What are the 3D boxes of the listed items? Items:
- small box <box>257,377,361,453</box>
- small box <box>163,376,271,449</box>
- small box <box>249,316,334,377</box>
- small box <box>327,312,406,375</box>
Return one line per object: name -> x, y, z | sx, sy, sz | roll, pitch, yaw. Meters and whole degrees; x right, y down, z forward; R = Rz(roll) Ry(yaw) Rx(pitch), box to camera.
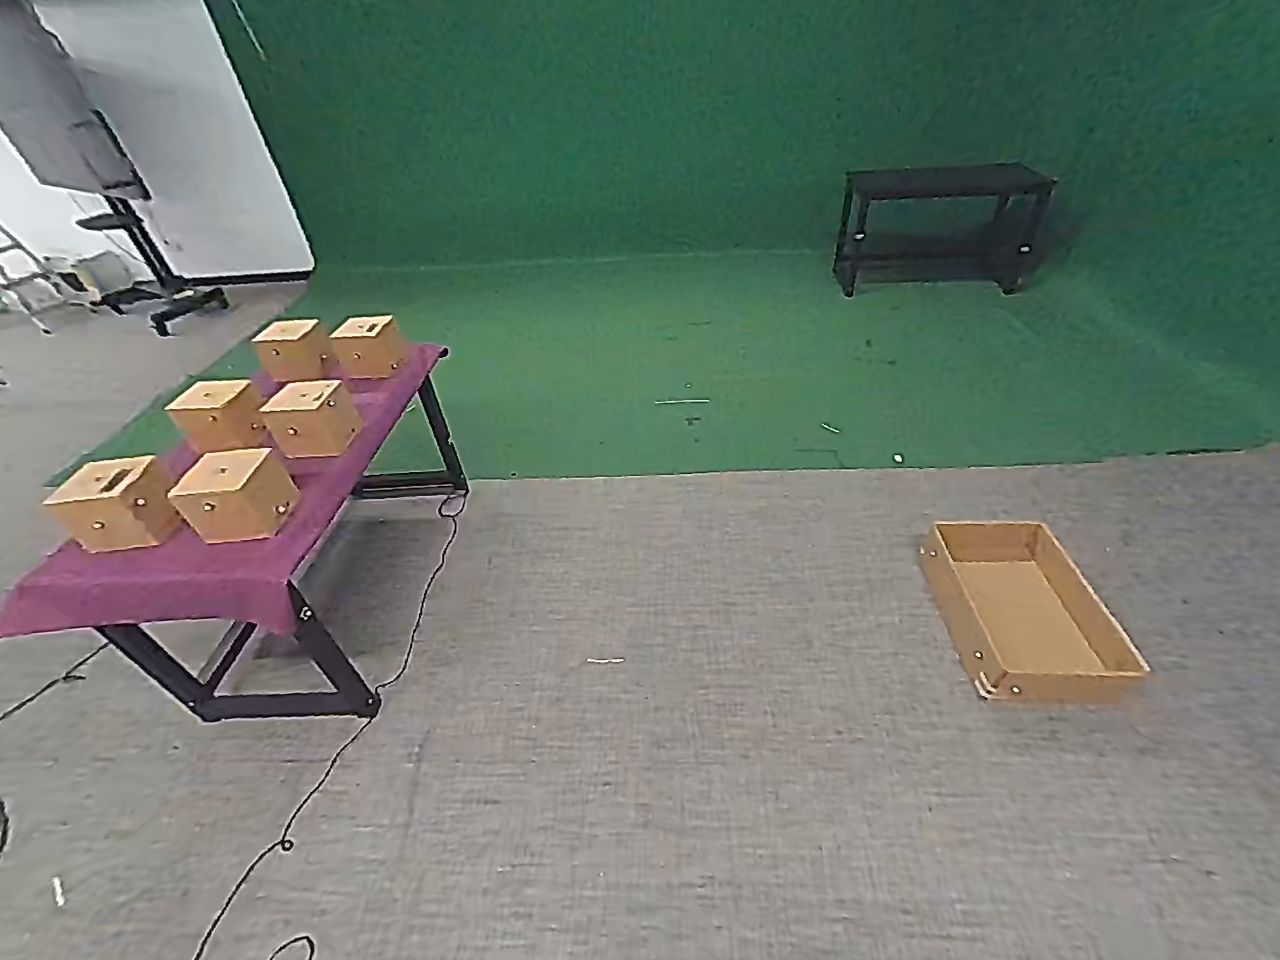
small box -> -0.984, -0.193, 1.625 | 0.179, 0.176, 0.168 | -2, 41, 5
small box -> -1.294, -0.206, 1.672 | 0.179, 0.176, 0.168 | -1, 40, 2
small box -> -1.284, -0.494, 2.006 | 0.179, 0.176, 0.168 | -1, 42, 3
small box -> -0.994, -0.500, 1.984 | 0.179, 0.176, 0.168 | -1, 41, 7
